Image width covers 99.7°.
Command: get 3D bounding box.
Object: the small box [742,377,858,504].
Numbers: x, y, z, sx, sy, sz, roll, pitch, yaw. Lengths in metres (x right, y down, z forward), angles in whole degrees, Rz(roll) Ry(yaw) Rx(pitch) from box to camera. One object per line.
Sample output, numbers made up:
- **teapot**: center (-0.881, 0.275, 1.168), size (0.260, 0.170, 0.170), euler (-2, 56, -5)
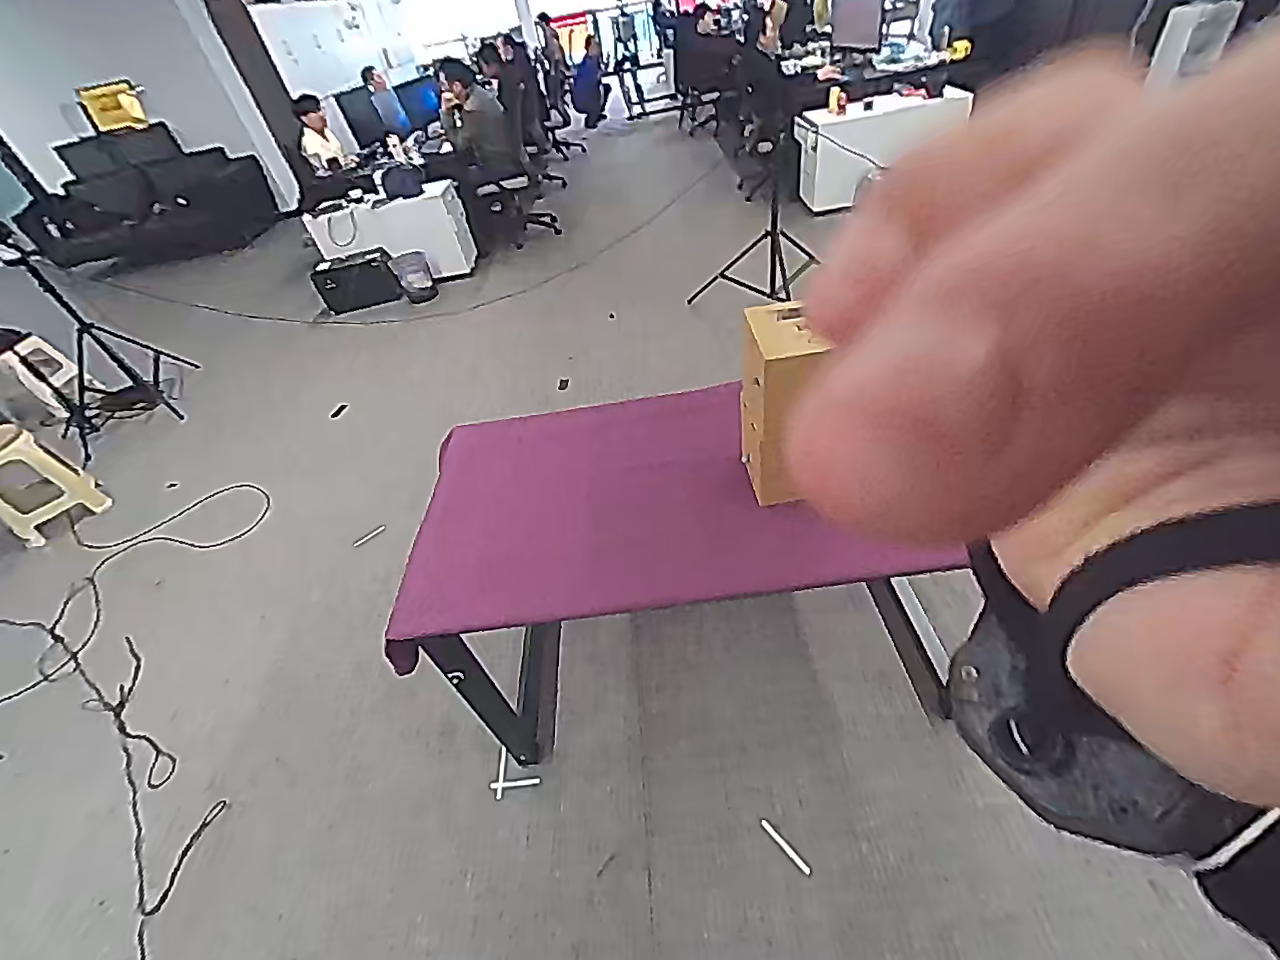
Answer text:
- **small box**: center (0.300, -0.074, 1.053), size (0.179, 0.176, 0.168), euler (-9, 42, 4)
